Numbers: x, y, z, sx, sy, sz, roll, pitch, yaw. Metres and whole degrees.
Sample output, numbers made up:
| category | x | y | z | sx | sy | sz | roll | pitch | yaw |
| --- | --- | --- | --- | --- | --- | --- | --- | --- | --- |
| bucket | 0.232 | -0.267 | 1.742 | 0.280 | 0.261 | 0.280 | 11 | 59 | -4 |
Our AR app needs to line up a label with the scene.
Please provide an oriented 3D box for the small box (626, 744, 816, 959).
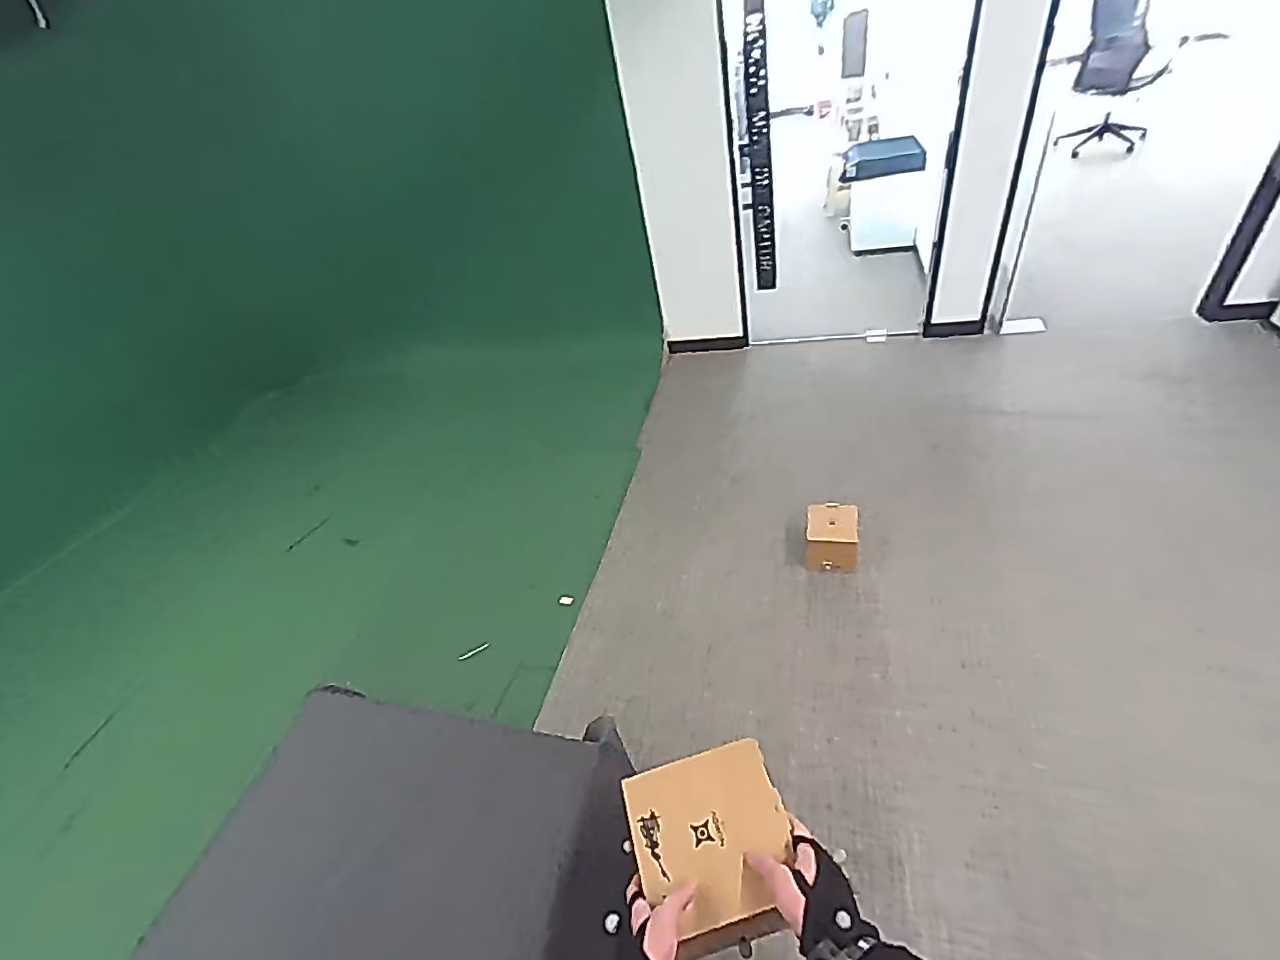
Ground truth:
| category | x | y | z | sx | sy | sz | roll | pitch | yaw |
| --- | --- | --- | --- | --- | --- | --- | --- | --- | --- |
| small box | 0.093 | 0.457 | 0.661 | 0.179 | 0.176 | 0.168 | -15 | 42 | -3 |

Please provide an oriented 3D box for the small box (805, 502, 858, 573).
| category | x | y | z | sx | sy | sz | roll | pitch | yaw |
| --- | --- | --- | --- | --- | --- | --- | --- | --- | --- |
| small box | 0.674 | 0.201 | 1.902 | 0.168 | 0.176 | 0.179 | 1 | 43 | 21 |
